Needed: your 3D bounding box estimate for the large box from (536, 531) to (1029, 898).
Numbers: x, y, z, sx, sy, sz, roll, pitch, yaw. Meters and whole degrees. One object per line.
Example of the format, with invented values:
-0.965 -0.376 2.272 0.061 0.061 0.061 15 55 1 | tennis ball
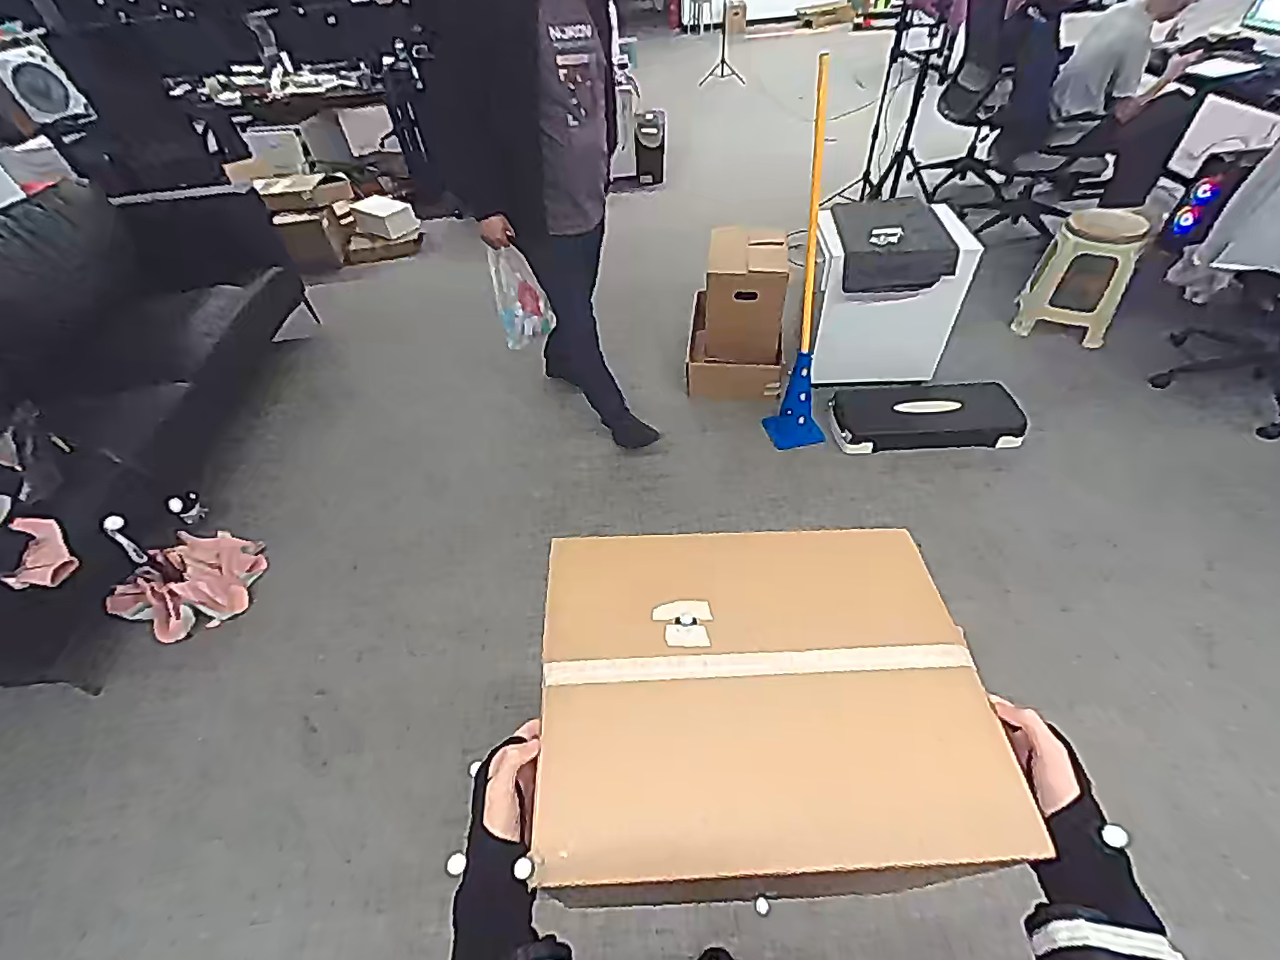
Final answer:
0.110 0.280 0.633 0.408 0.320 0.320 -2 49 -2 | large box
